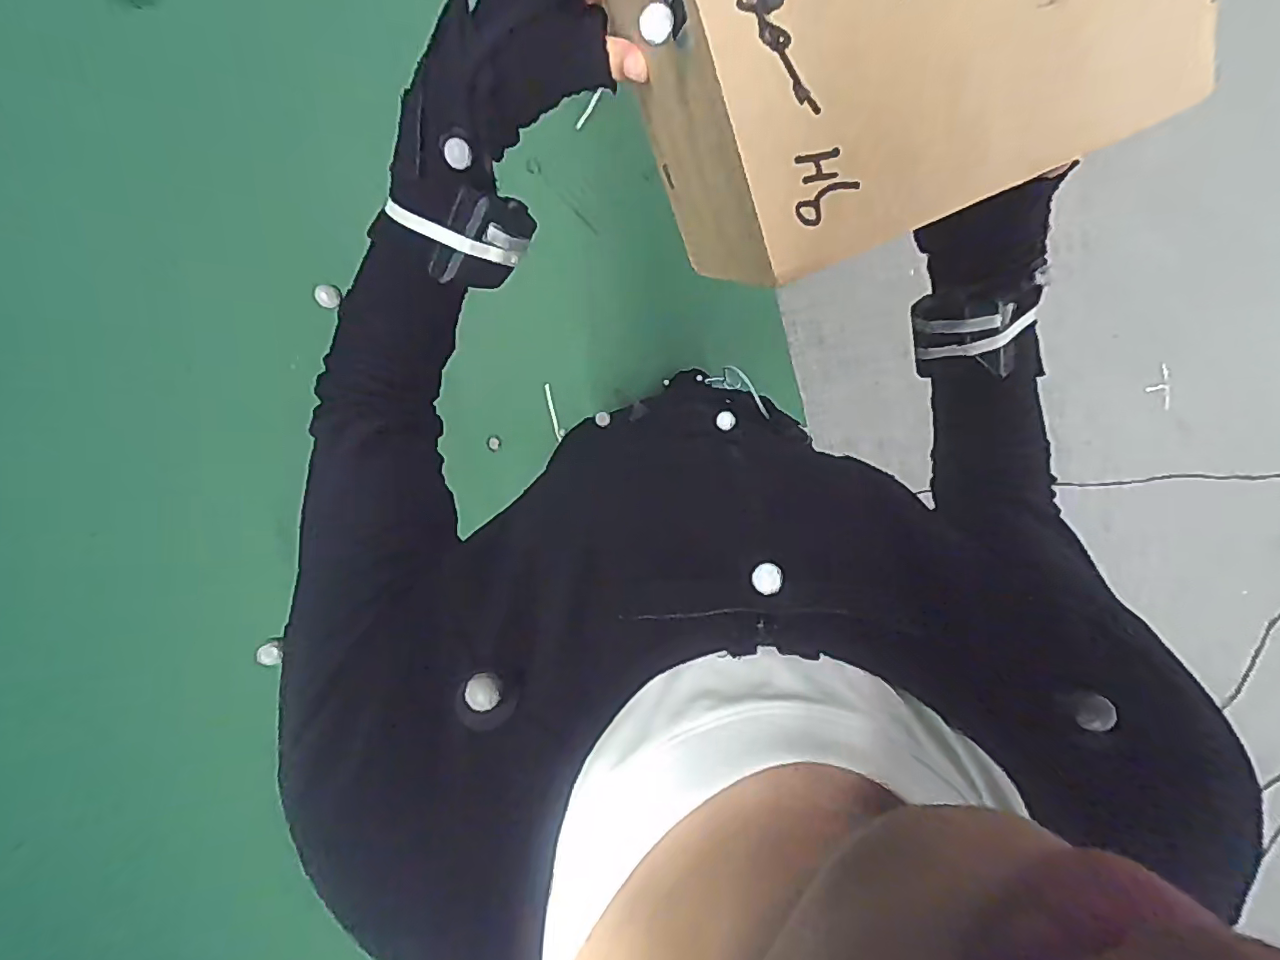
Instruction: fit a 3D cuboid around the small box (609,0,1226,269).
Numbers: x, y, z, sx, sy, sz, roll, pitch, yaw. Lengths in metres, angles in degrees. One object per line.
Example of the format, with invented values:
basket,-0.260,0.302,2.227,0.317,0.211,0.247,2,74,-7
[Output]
small box,0.097,-0.210,0.244,0.179,0.176,0.168,-22,112,2
